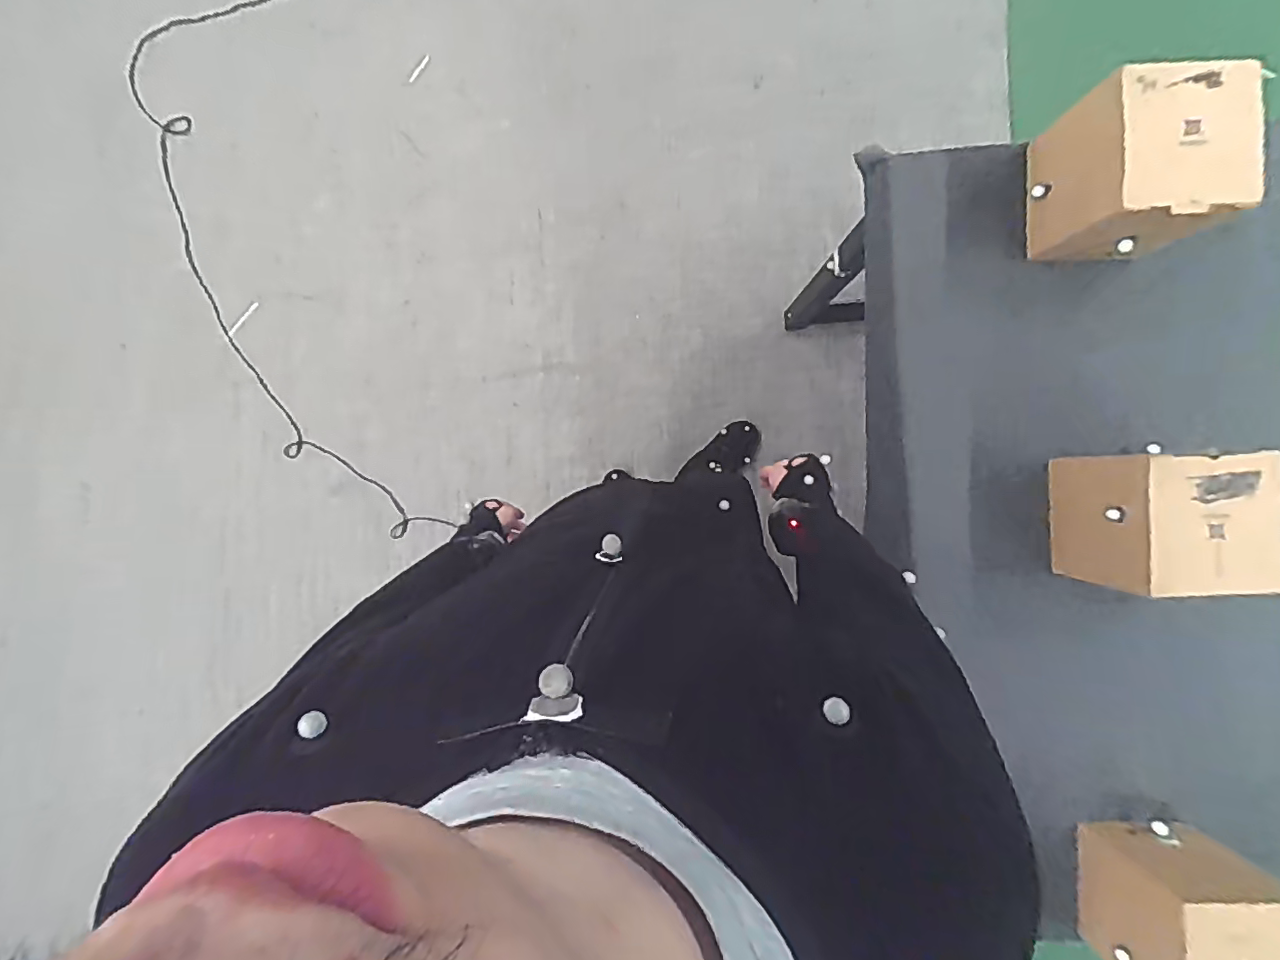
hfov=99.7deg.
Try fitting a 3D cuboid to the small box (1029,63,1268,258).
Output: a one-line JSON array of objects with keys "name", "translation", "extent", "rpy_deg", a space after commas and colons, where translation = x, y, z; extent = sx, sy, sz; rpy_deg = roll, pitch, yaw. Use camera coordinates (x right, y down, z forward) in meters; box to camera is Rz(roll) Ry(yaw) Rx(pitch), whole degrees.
[{"name": "small box", "translation": [0.659, -0.409, 0.724], "extent": [0.168, 0.176, 0.179], "rpy_deg": [-1, 92, 1]}]

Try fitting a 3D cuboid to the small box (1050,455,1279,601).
[{"name": "small box", "translation": [0.697, 0.057, 0.733], "extent": [0.168, 0.176, 0.179], "rpy_deg": [-2, 92, 2]}]

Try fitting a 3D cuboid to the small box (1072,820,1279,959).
[{"name": "small box", "translation": [0.737, 0.606, 0.743], "extent": [0.168, 0.176, 0.179], "rpy_deg": [-1, 90, 0]}]
